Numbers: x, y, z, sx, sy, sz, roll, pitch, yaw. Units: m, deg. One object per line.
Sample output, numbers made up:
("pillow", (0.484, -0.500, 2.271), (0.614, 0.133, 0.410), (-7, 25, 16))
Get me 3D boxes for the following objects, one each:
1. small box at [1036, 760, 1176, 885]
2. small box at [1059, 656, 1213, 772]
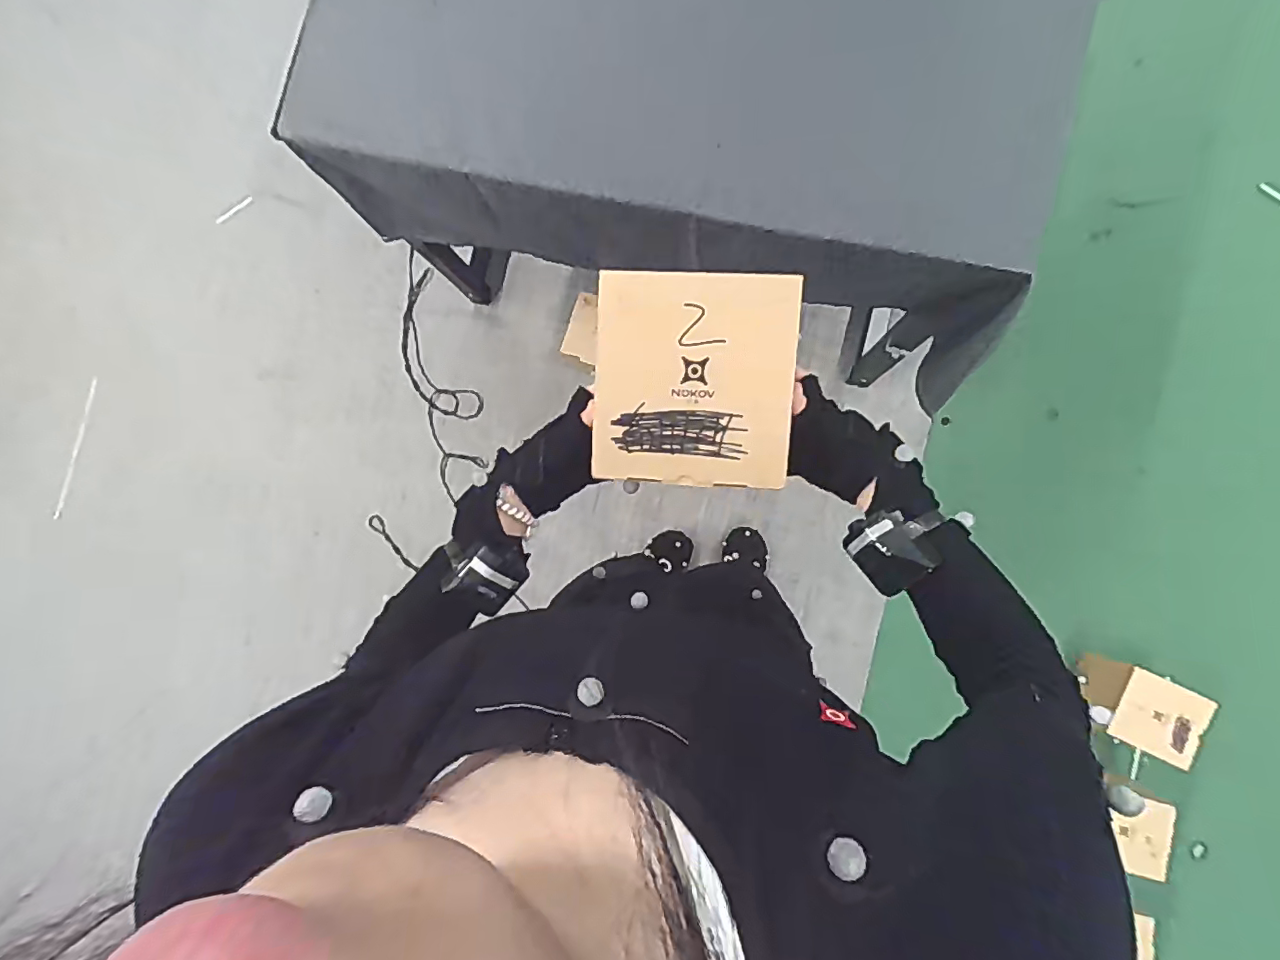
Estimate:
("small box", (1.069, 0.781, 1.256), (0.179, 0.176, 0.168), (12, 88, 7))
("small box", (1.151, 0.535, 1.268), (0.179, 0.176, 0.168), (25, 88, 9))
